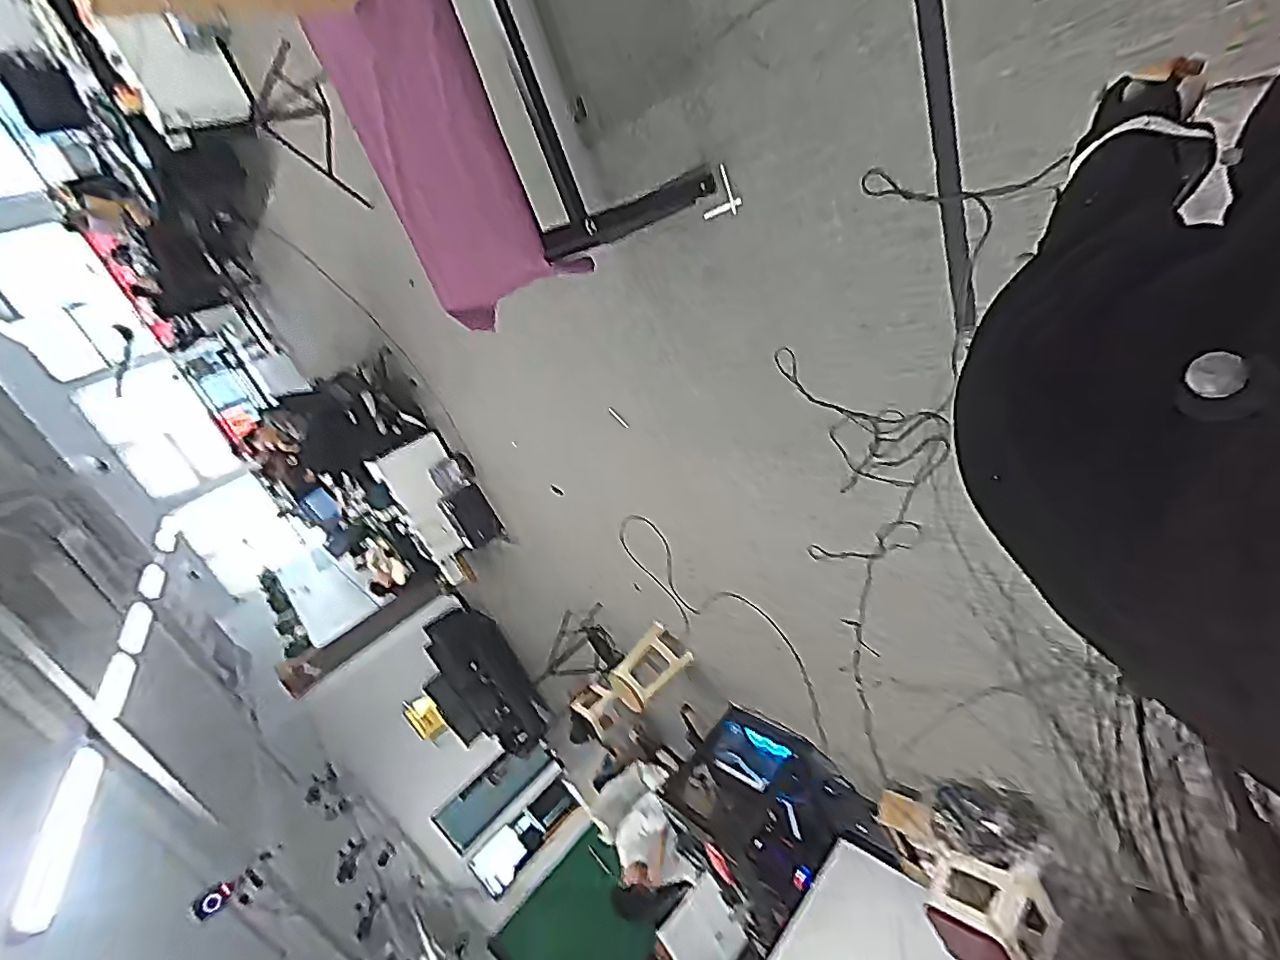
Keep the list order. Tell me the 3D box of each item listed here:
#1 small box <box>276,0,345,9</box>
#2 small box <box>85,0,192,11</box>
[{"bbox_3d":[-0.703,-1.133,1.126,0.168,0.176,0.179,8,127,49],"label":"small box"},{"bbox_3d":[-0.931,-0.973,0.949,0.168,0.176,0.179,9,128,50],"label":"small box"}]
